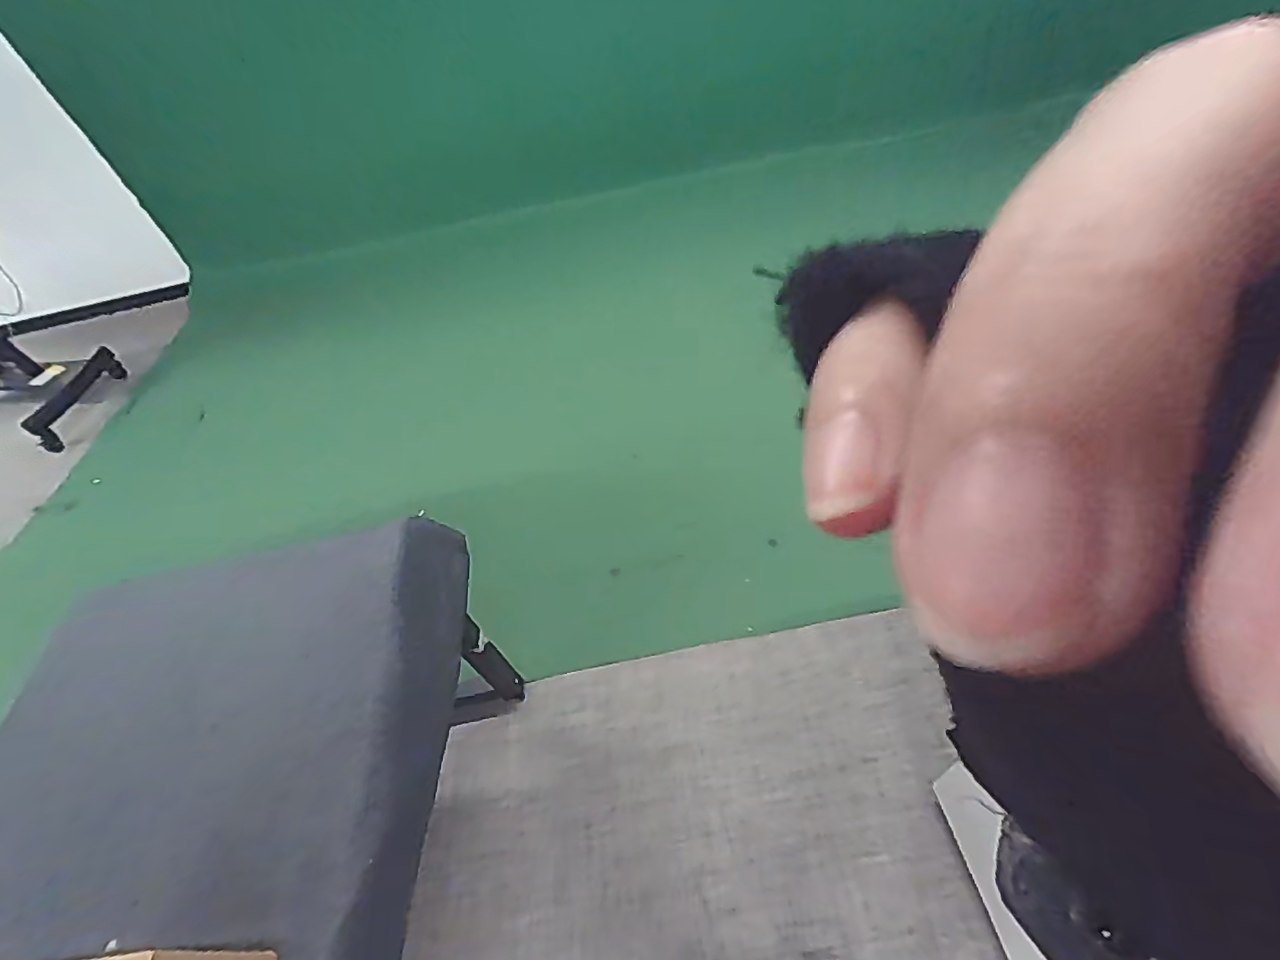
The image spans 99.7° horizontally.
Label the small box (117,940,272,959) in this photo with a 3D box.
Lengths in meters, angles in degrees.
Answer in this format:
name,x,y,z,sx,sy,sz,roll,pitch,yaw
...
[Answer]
name,x,y,z,sx,sy,sz,roll,pitch,yaw
small box,-0.477,0.533,0.481,0.168,0.176,0.179,-10,49,4
